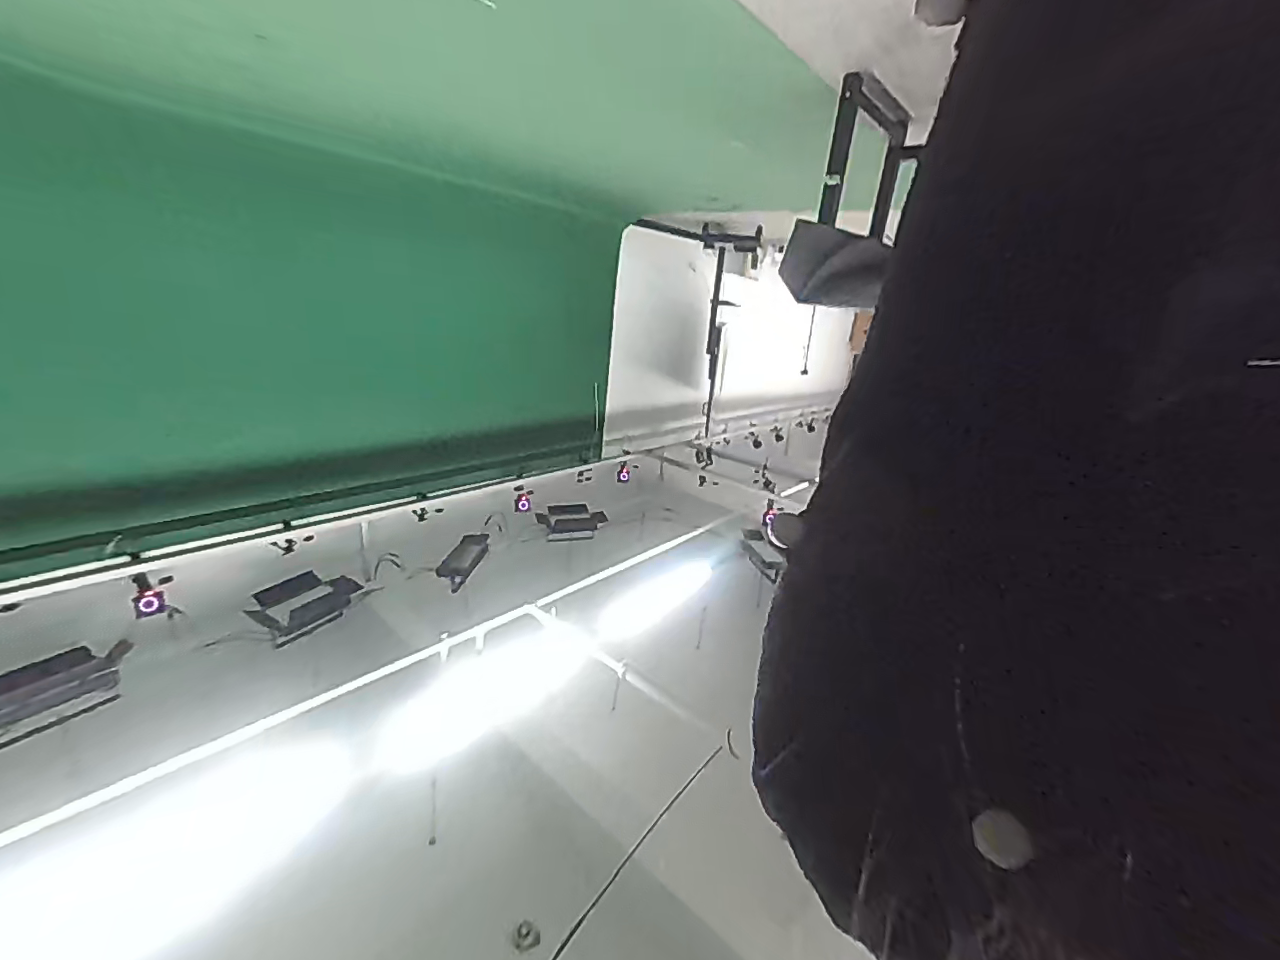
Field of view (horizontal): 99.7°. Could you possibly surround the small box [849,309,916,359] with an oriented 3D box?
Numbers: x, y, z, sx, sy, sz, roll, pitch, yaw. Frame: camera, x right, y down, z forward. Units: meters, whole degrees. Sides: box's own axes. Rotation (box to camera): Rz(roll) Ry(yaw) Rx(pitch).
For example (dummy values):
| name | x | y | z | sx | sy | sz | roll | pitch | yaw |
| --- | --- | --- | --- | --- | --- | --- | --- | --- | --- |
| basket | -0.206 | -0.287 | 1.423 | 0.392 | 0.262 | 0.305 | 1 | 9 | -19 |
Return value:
| name | x | y | z | sx | sy | sz | roll | pitch | yaw |
| --- | --- | --- | --- | --- | --- | --- | --- | --- | --- |
| small box | 0.940 | -0.569 | 2.096 | 0.179 | 0.176 | 0.168 | -12 | -153 | -41 |
